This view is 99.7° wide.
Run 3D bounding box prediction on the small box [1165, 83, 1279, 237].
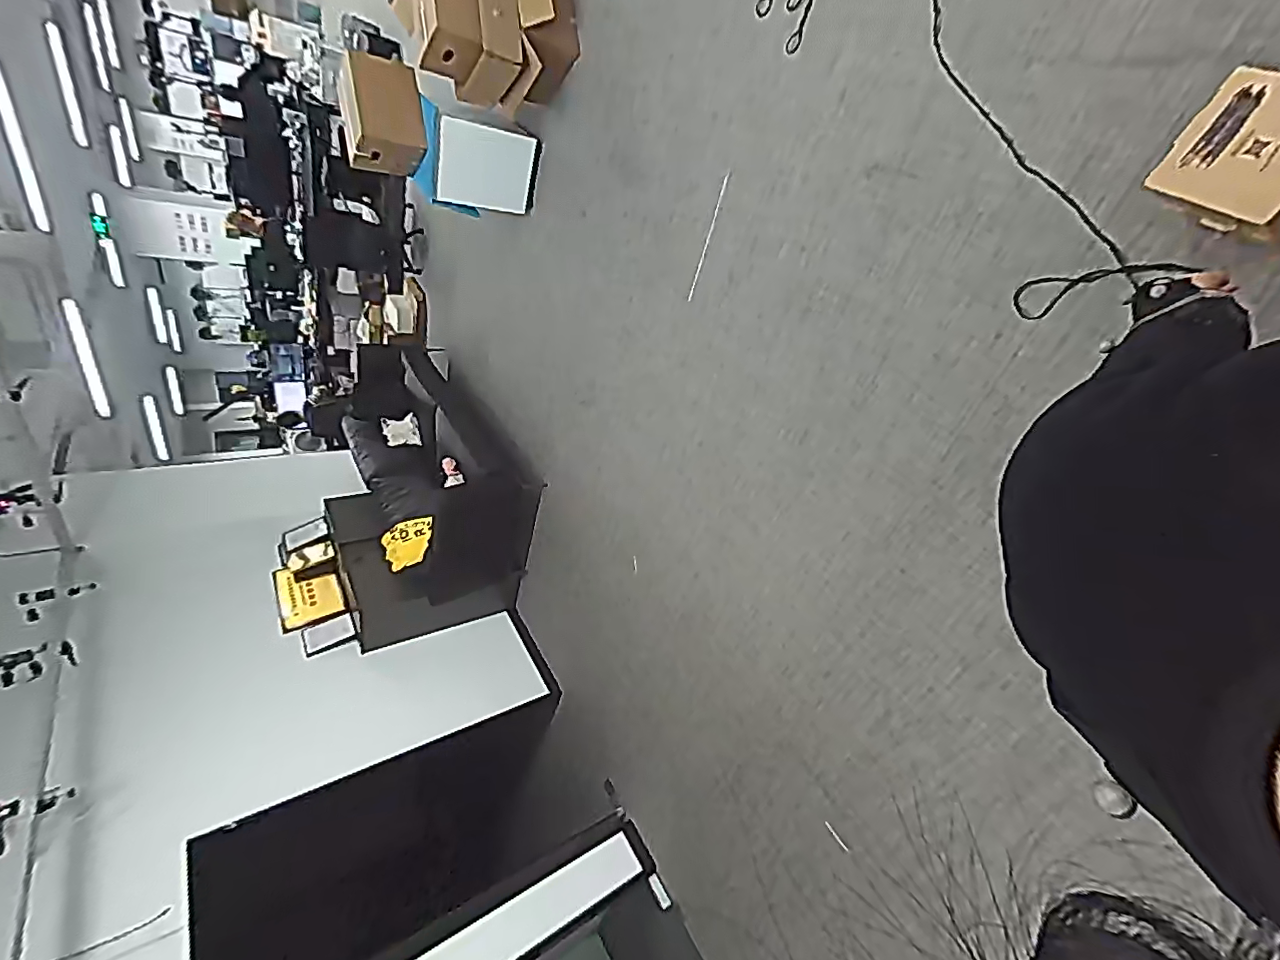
[{"bbox_3d":[1.075,-0.536,0.923,0.168,0.176,0.179,51,136,34],"label":"small box"}]
